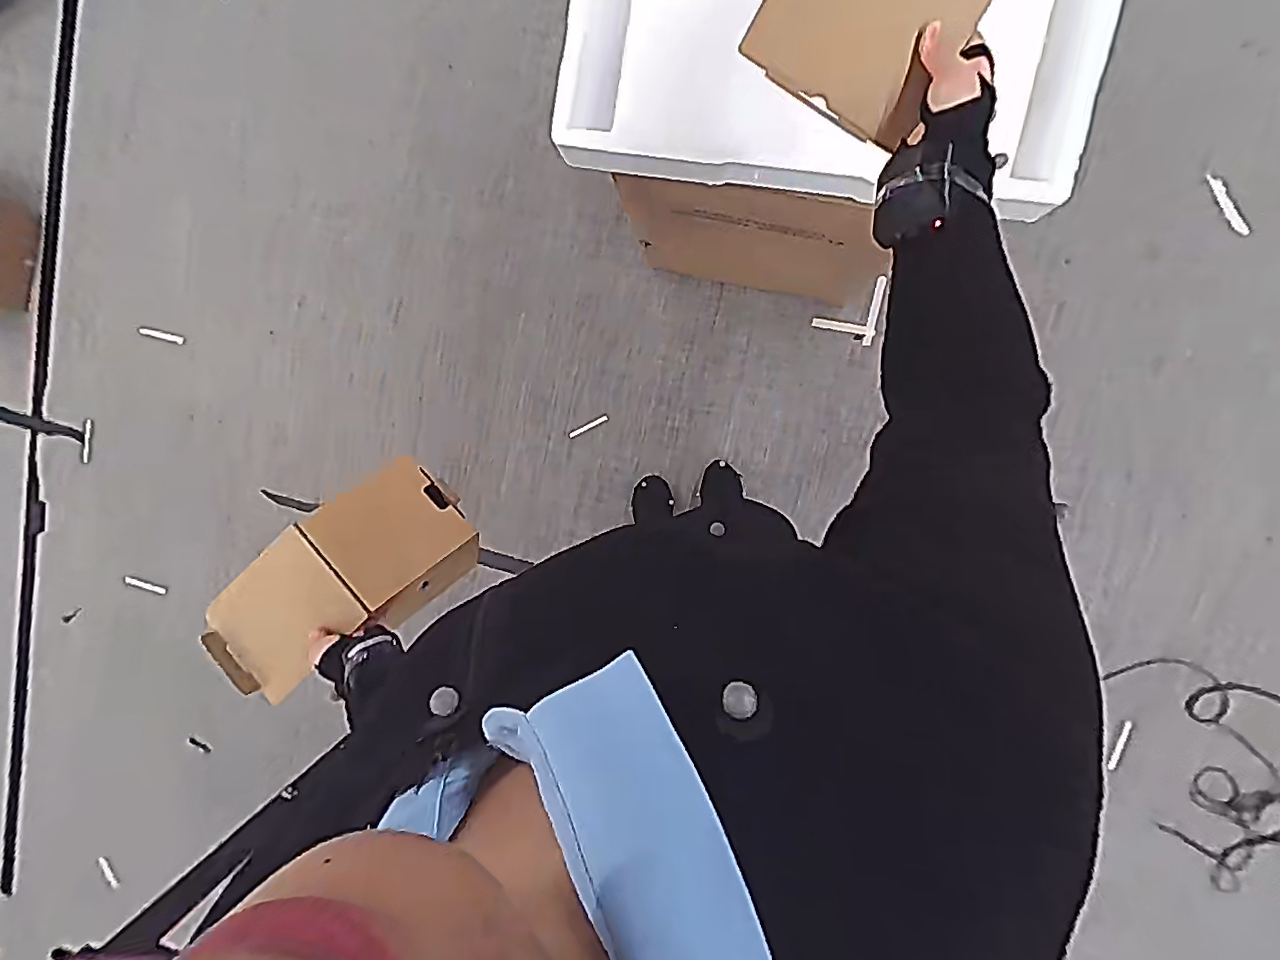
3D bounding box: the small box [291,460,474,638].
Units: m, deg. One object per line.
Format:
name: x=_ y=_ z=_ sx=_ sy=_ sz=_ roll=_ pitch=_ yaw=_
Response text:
small box: x=-0.366 y=0.109 z=0.803 sx=0.168 sy=0.176 sz=0.179 roll=46 pitch=60 yaw=7
